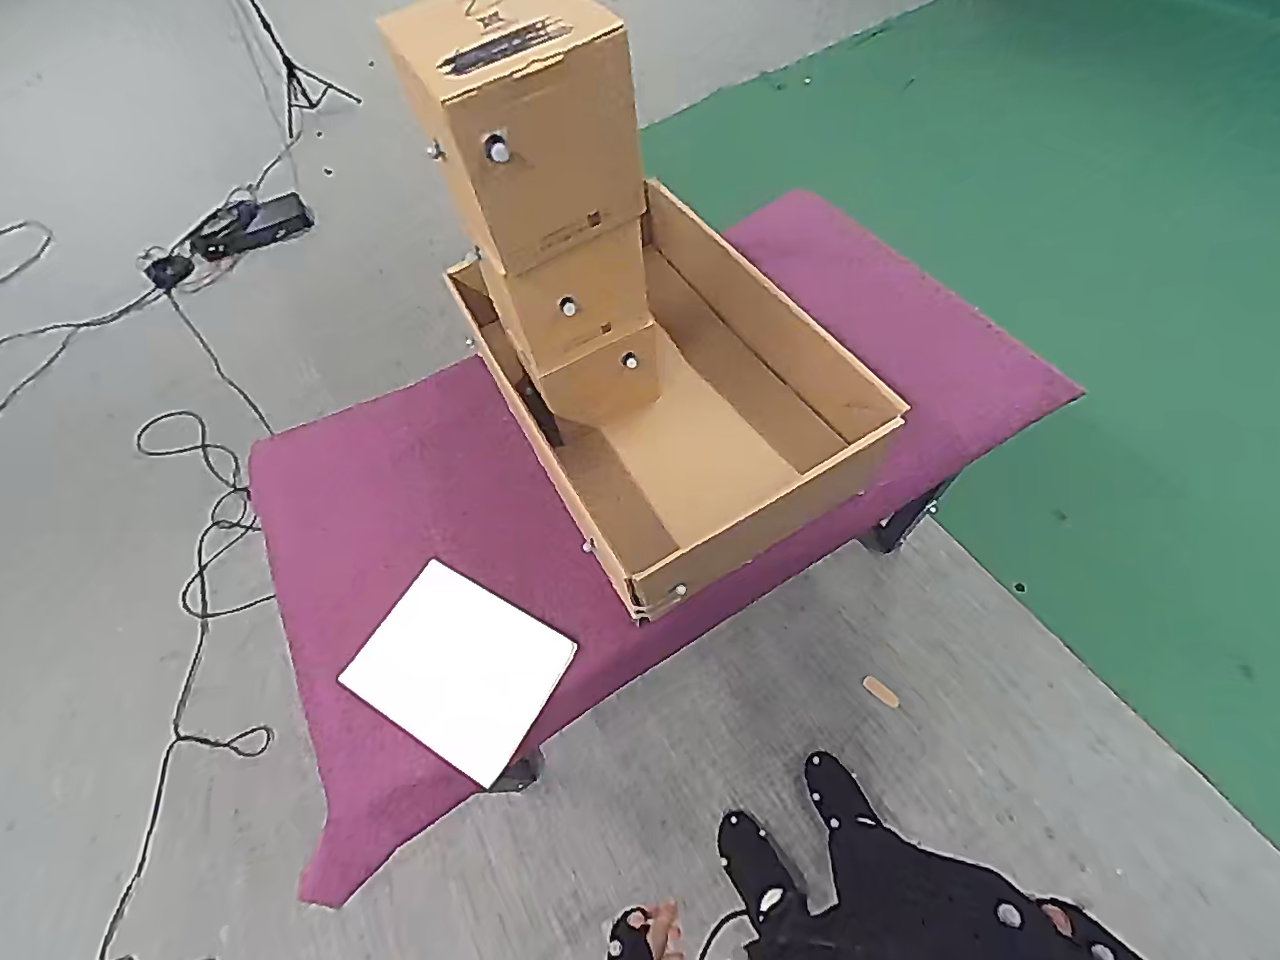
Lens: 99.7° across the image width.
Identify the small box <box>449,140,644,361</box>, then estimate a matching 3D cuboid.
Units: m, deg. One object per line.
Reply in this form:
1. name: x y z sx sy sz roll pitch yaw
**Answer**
1. small box: -0.106 -0.275 0.678 0.168 0.176 0.179 -28 62 -9
